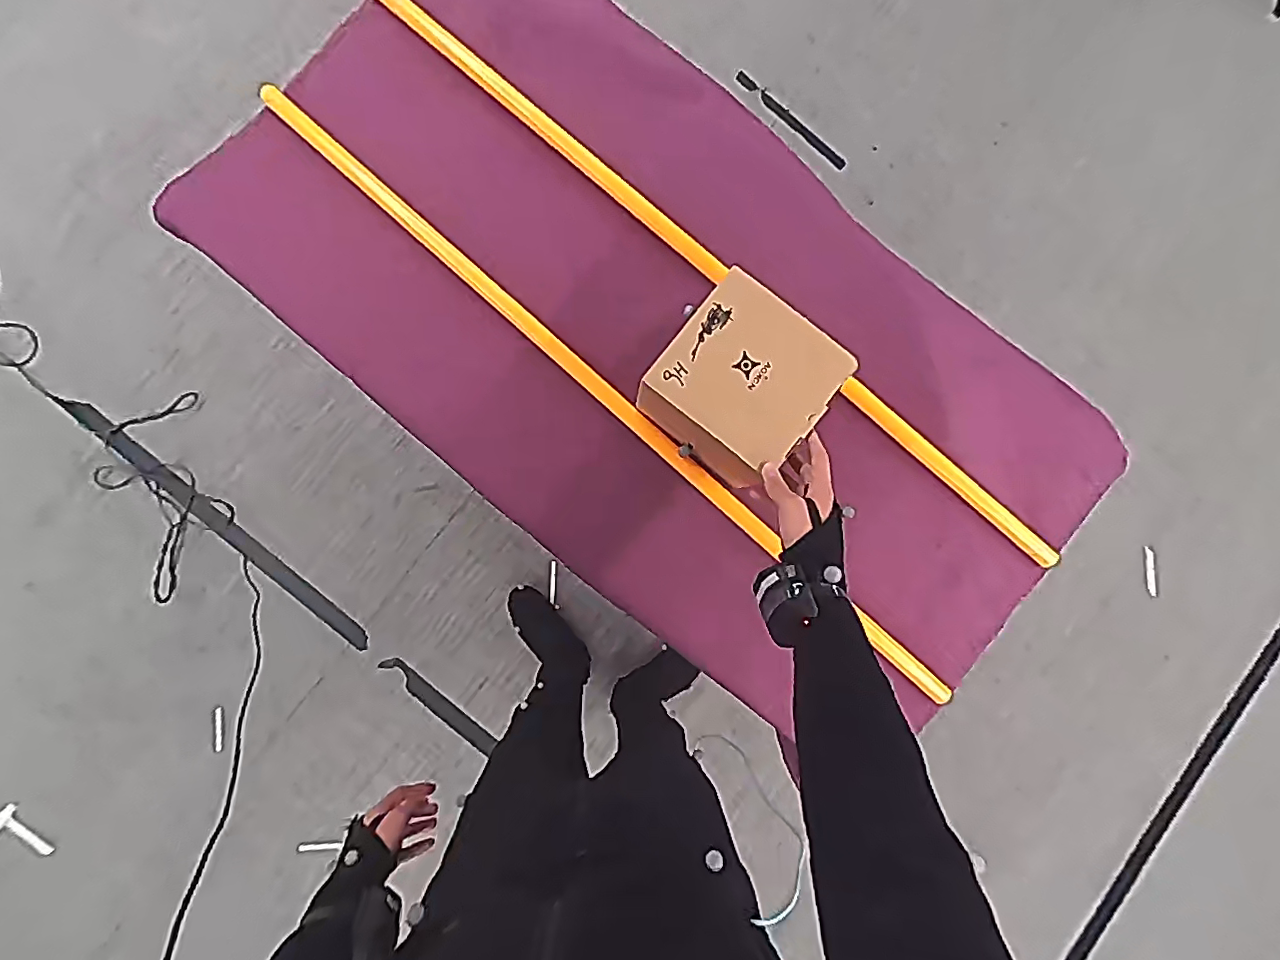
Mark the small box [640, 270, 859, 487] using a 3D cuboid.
[{"bbox_3d":[0.116,-0.107,0.652,0.179,0.176,0.168,39,86,0],"label":"small box"}]
